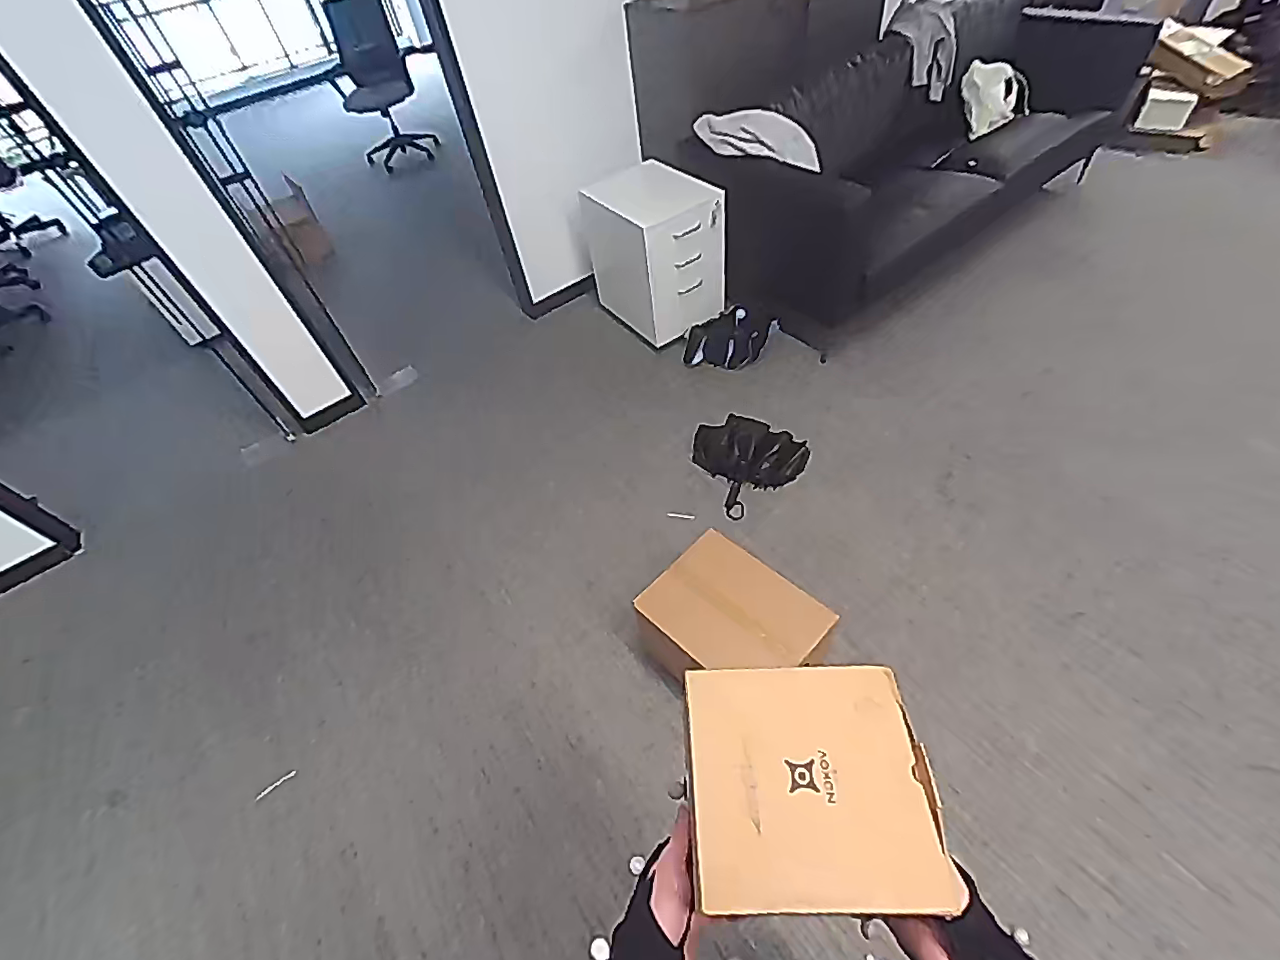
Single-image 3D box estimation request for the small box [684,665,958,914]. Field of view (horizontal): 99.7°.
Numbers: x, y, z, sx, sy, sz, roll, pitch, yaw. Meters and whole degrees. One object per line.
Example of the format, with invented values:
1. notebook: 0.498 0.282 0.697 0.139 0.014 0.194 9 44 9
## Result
1. small box: 0.131 0.272 0.474 0.179 0.176 0.168 -3 51 2
